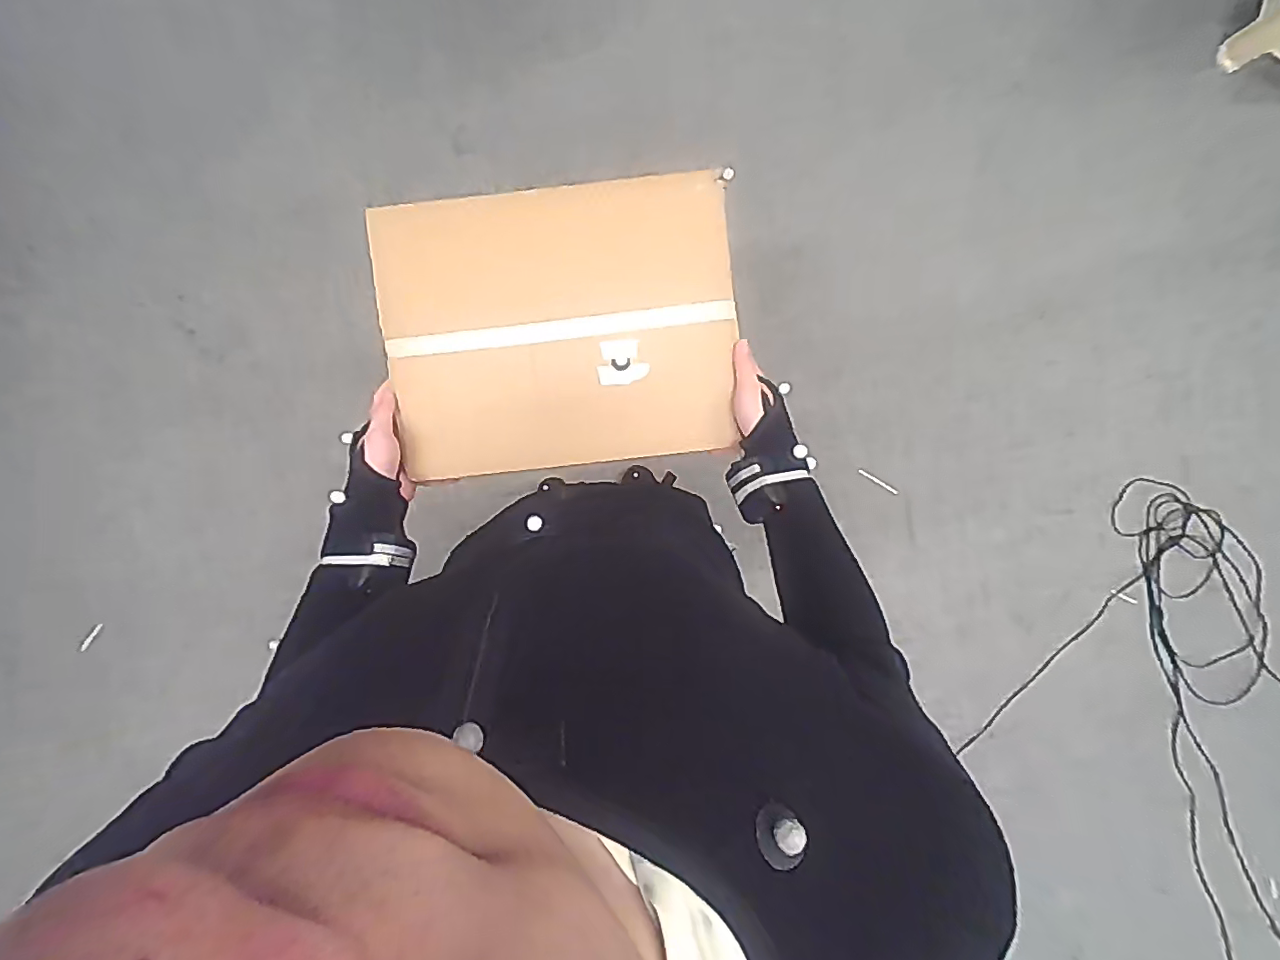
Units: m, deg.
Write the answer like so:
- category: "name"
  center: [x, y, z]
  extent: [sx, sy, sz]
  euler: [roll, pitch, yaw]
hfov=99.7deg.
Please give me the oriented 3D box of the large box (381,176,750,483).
- category: "large box"
  center: [-0.086, -0.186, 0.779]
  extent: [0.408, 0.320, 0.320]
  euler: [-7, 96, 0]
